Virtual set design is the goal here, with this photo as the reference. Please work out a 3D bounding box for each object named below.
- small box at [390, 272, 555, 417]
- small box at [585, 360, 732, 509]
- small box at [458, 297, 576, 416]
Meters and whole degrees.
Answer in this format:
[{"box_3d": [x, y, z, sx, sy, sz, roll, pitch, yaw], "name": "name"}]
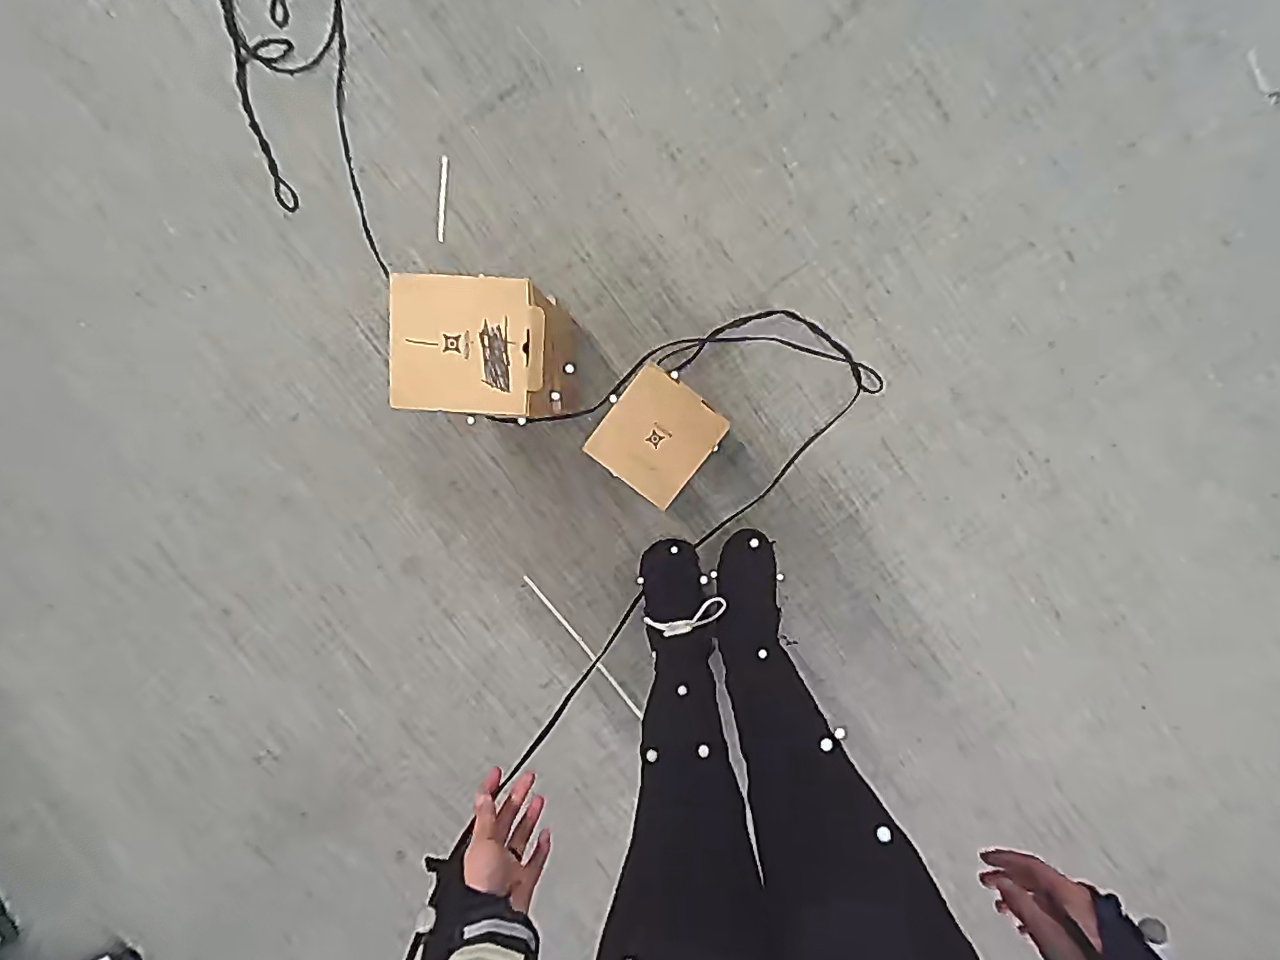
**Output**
[{"box_3d": [-0.217, -0.174, 0.739, 0.179, 0.176, 0.168, 3, 96, 2], "name": "small box"}, {"box_3d": [0.029, -0.079, 0.915, 0.168, 0.176, 0.179, 37, 97, -3], "name": "small box"}, {"box_3d": [-0.202, -0.198, 0.902, 0.168, 0.176, 0.179, -2, 97, 2], "name": "small box"}]
